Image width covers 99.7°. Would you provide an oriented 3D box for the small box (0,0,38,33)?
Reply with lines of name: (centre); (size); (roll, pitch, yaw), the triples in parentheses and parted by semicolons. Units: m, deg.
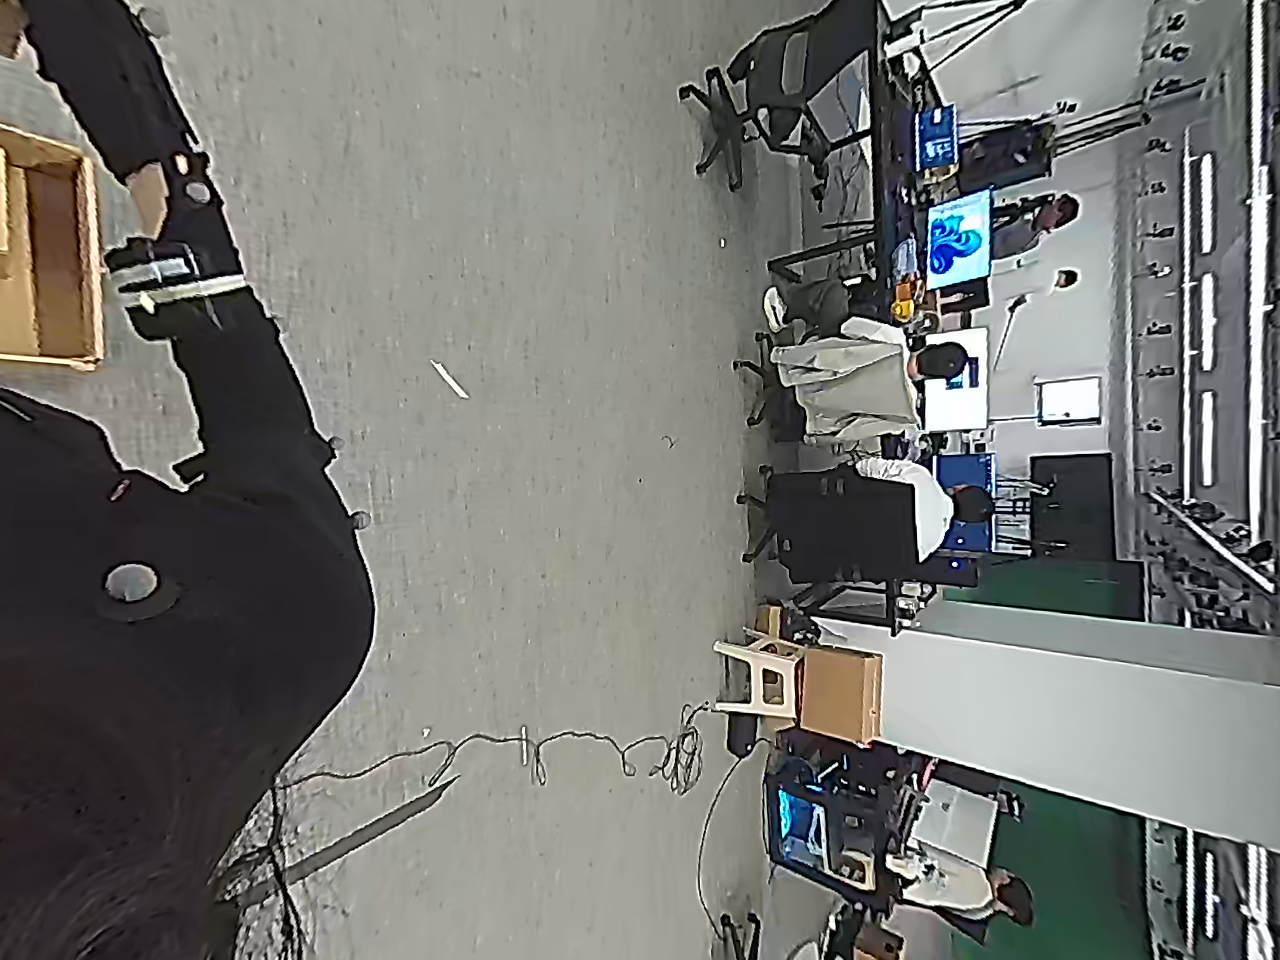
small box: (-0.452, -0.363, 0.271); (0.179, 0.176, 0.168); (-11, 116, -49)
